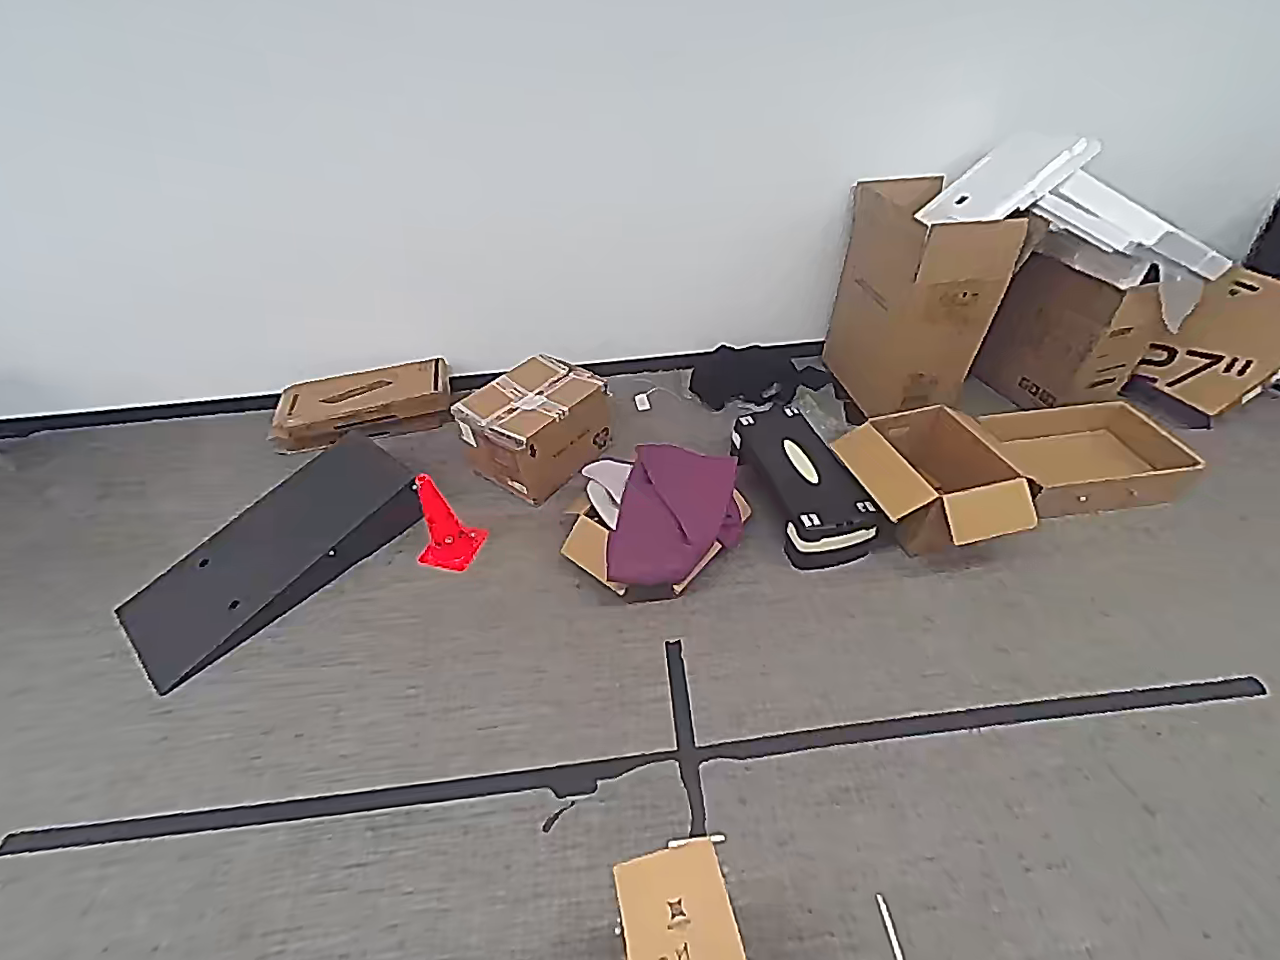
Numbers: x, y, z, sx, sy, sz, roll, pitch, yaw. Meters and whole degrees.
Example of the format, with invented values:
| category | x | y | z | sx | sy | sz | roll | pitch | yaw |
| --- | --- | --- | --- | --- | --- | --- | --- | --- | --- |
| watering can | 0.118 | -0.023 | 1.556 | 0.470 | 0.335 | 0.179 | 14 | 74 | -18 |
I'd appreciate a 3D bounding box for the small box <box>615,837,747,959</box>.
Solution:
| category | x | y | z | sx | sy | sz | roll | pitch | yaw |
| --- | --- | --- | --- | --- | --- | --- | --- | --- | --- |
| small box | 0.061 | 0.707 | 0.857 | 0.168 | 0.176 | 0.179 | -12 | 44 | -7 |
